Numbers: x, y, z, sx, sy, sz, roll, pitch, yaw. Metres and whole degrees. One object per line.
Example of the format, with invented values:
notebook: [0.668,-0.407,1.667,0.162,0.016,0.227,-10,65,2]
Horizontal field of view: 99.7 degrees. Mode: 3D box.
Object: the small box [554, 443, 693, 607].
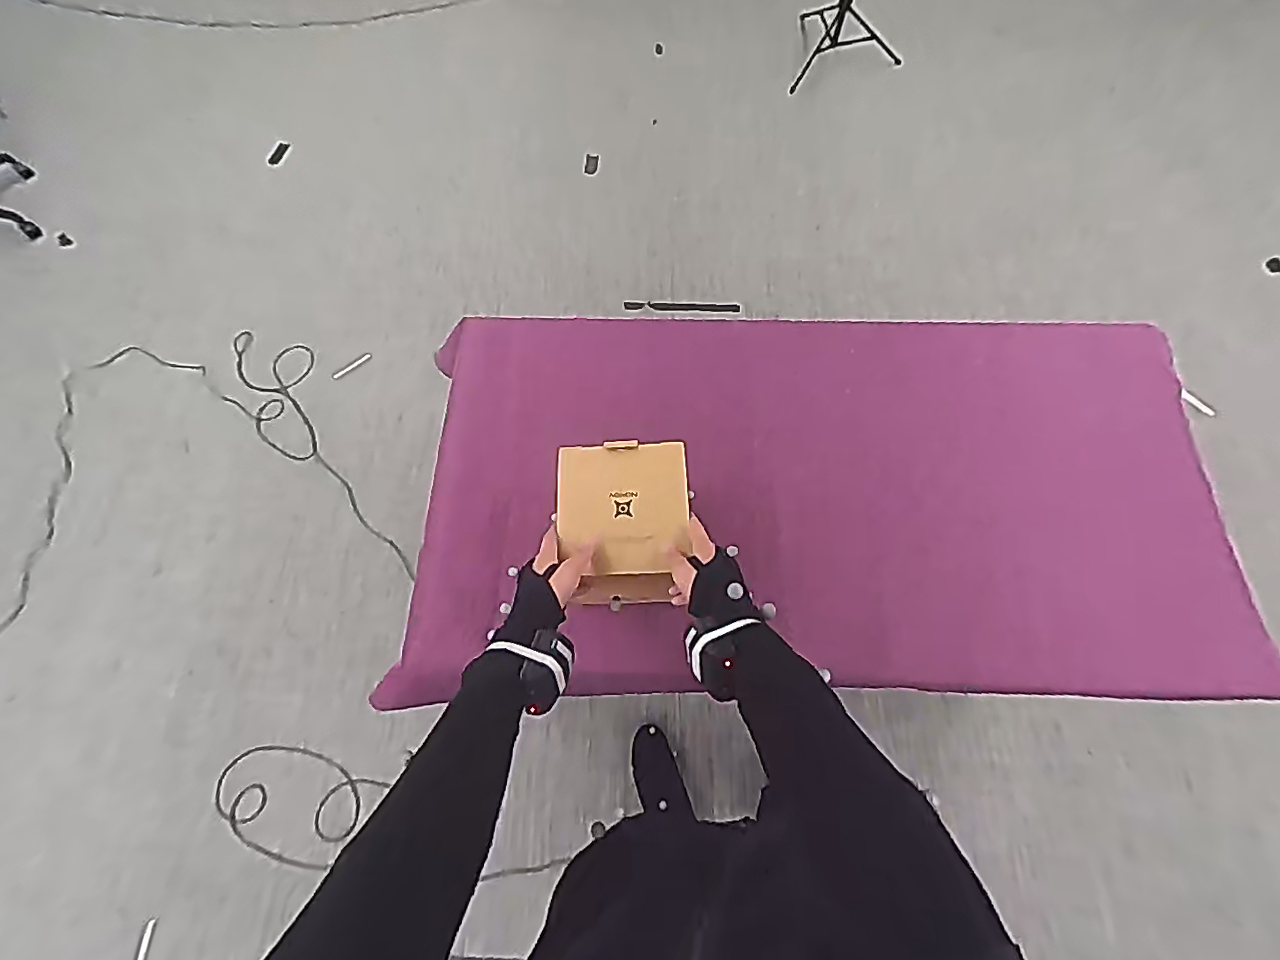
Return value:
small box: [-0.020,0.066,0.735,0.168,0.176,0.179,-2,65,1]
